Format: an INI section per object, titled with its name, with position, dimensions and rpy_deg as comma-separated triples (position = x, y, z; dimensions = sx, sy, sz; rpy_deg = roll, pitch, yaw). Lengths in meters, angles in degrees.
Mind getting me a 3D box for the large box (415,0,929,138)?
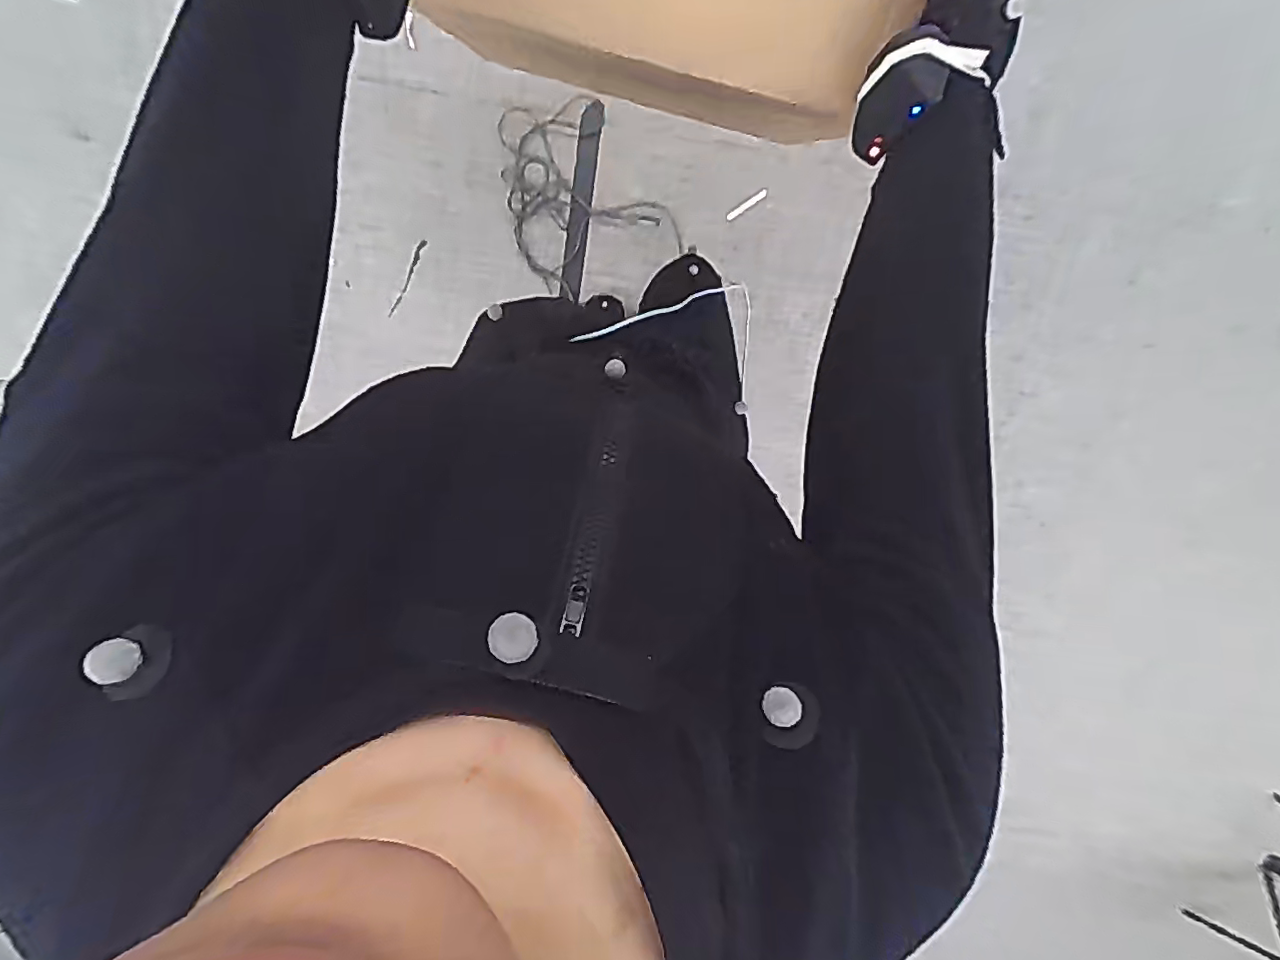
[large box]
position = 0.040, -0.537, 0.489
dimensions = 0.408, 0.320, 0.320
rpy_deg = 10, 120, -8
